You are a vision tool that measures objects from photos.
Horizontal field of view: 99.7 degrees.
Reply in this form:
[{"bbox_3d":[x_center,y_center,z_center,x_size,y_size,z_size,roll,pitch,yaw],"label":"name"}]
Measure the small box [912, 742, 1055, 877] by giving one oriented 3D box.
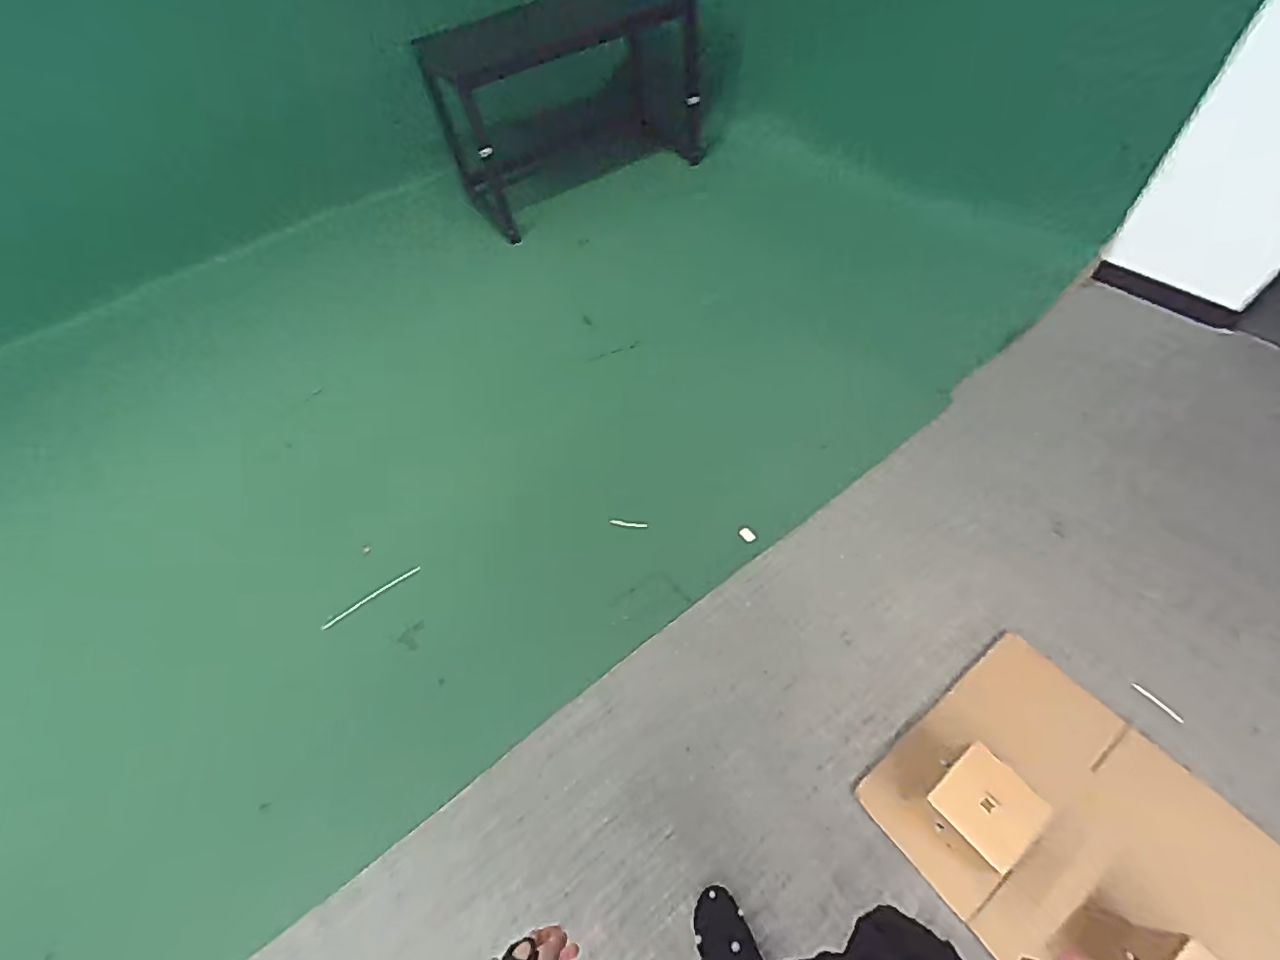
[{"bbox_3d":[0.700,0.689,1.129,0.179,0.176,0.168,-35,58,-18],"label":"small box"}]
